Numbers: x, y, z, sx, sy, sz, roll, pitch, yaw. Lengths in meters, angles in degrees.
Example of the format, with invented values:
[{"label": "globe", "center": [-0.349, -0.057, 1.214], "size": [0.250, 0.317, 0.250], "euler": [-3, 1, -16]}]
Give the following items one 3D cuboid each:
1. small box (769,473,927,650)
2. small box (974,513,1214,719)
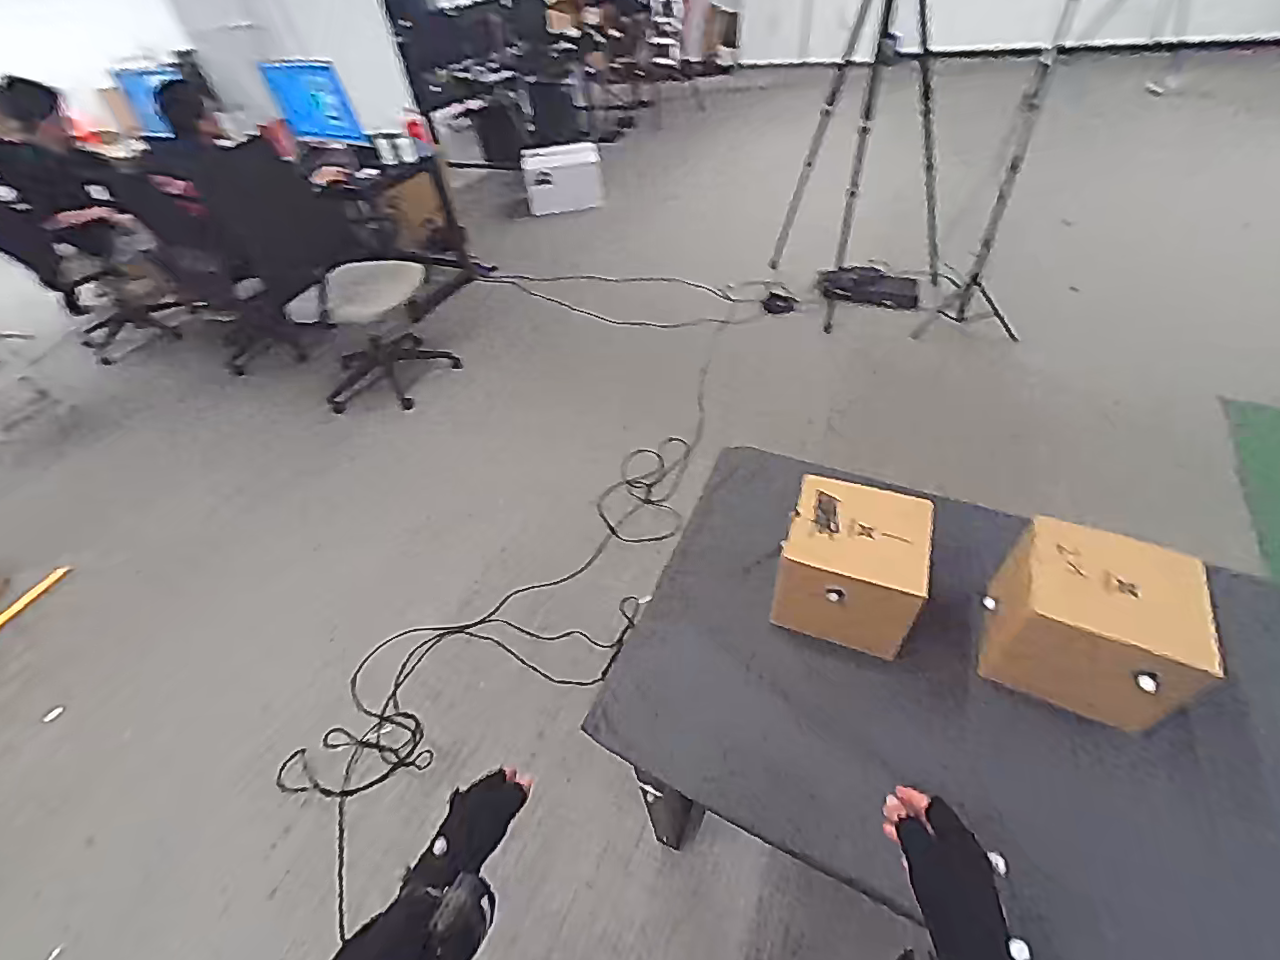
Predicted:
[{"label": "small box", "center": [0.294, 0.119, 0.783], "size": [0.179, 0.176, 0.168], "euler": [14, 49, 19]}, {"label": "small box", "center": [0.561, 0.177, 0.692], "size": [0.179, 0.176, 0.168], "euler": [18, 50, 23]}]
